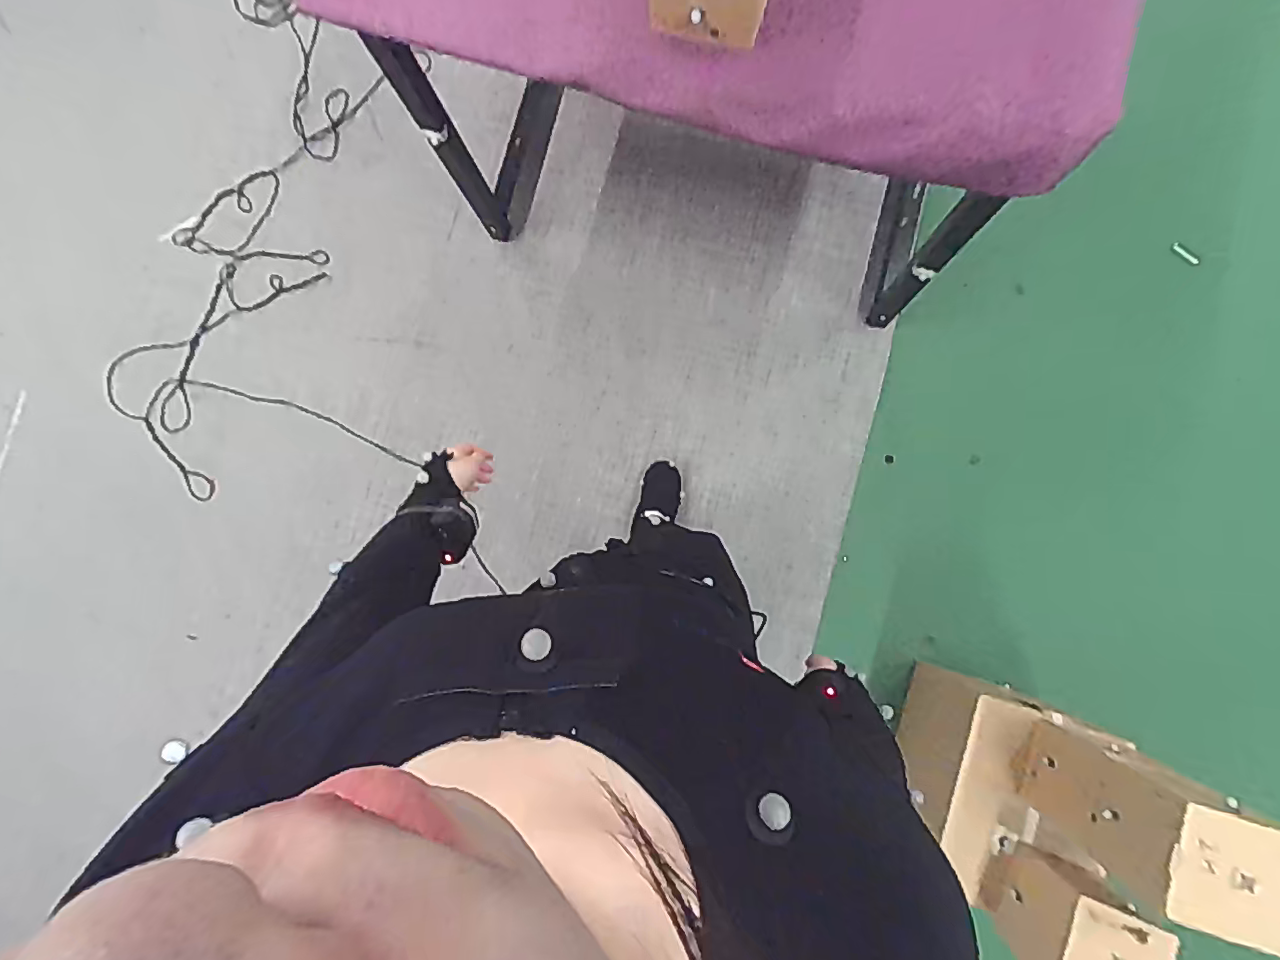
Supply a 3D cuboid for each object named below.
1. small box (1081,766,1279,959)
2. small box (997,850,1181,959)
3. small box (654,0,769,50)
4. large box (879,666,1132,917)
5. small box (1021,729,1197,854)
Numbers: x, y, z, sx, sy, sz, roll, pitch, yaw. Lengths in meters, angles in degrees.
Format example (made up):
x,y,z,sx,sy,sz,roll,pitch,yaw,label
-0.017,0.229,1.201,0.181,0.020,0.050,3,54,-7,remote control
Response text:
x,y,z,sx,sy,sz,roll,pitch,yaw,label
0.836,0.569,0.822,0.179,0.176,0.168,16,86,6,small box
0.783,0.820,0.965,0.168,0.176,0.179,22,86,6,small box
0.113,-0.766,0.758,0.168,0.176,0.179,17,86,6,small box
0.792,0.692,1.224,0.320,0.320,0.408,17,87,7,large box
0.852,0.583,0.986,0.179,0.176,0.168,17,87,6,small box
